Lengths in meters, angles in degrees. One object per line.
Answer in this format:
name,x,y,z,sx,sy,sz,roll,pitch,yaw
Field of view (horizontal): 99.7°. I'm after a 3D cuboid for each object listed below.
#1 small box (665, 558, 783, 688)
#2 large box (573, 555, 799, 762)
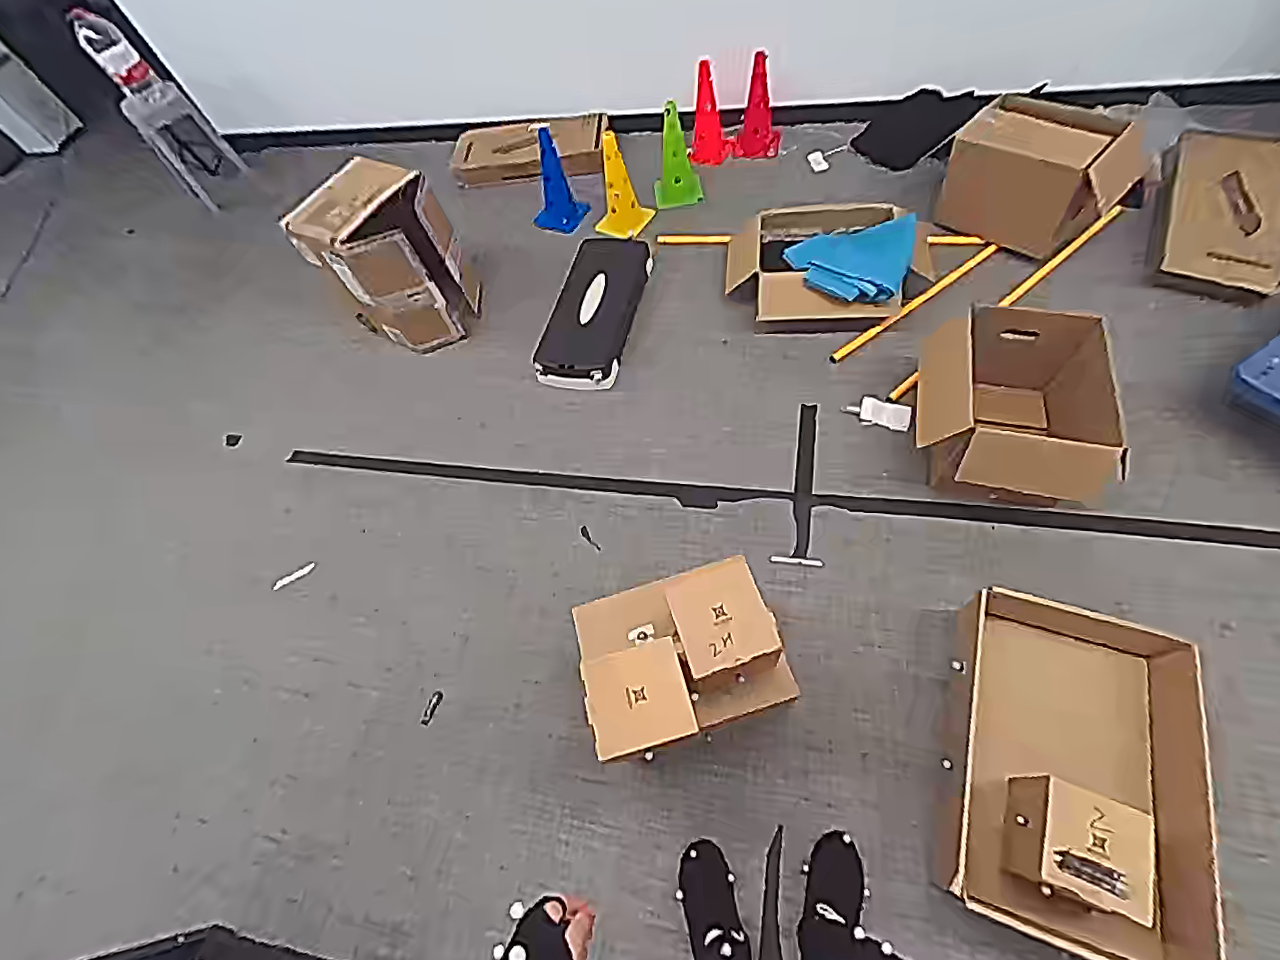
small box,0.157,0.278,1.034,0.168,0.176,0.179,-19,60,-1
large box,0.105,0.423,1.247,0.408,0.320,0.320,-19,59,0
